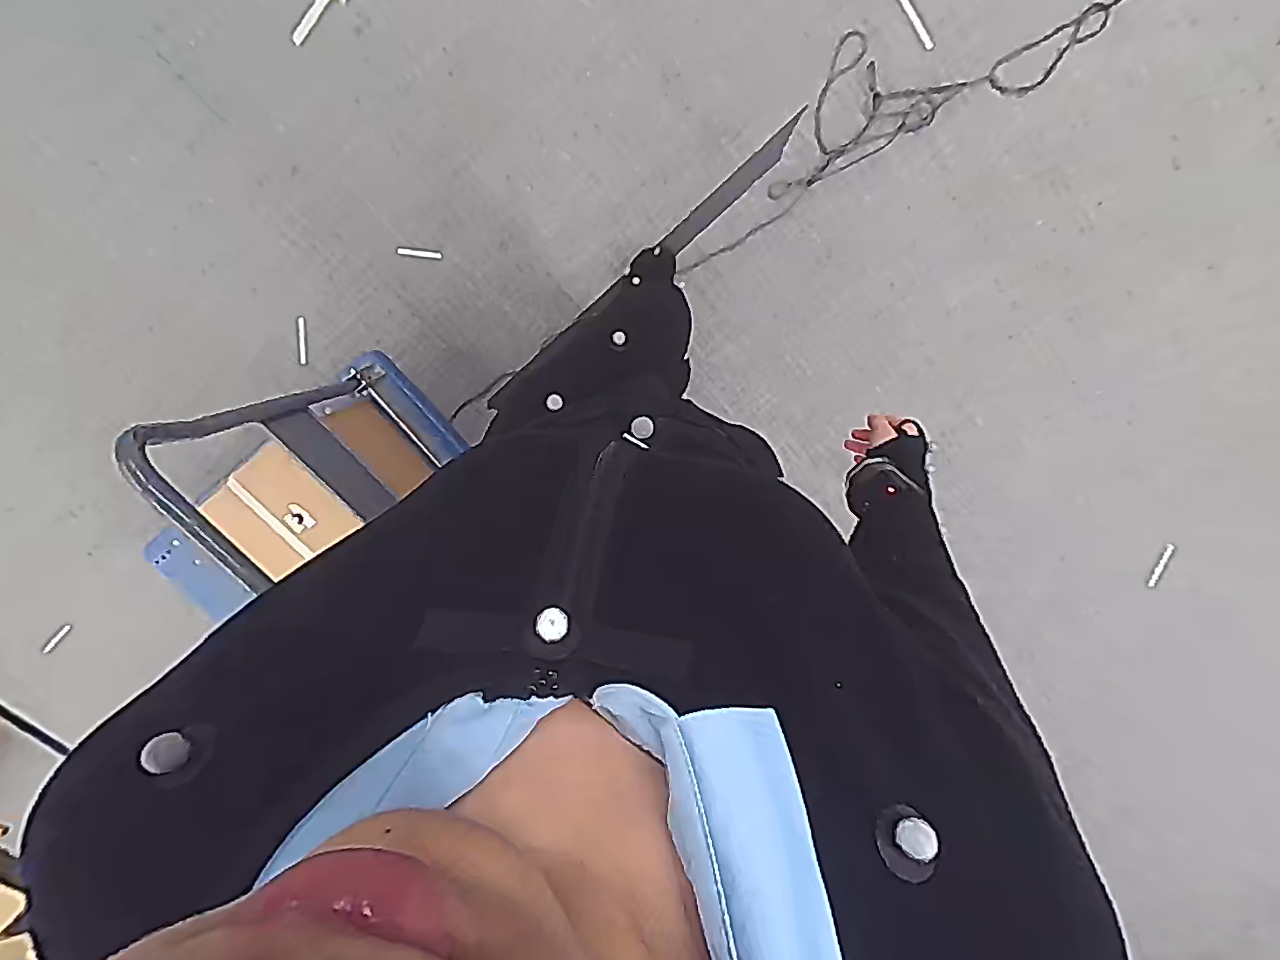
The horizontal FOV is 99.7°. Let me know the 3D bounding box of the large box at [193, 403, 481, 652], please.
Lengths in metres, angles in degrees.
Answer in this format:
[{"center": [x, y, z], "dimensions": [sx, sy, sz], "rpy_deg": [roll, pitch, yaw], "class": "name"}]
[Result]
[{"center": [-0.641, 0.094, 1.223], "dimensions": [0.320, 0.320, 0.408], "rpy_deg": [-36, 104, 11], "class": "large box"}]
